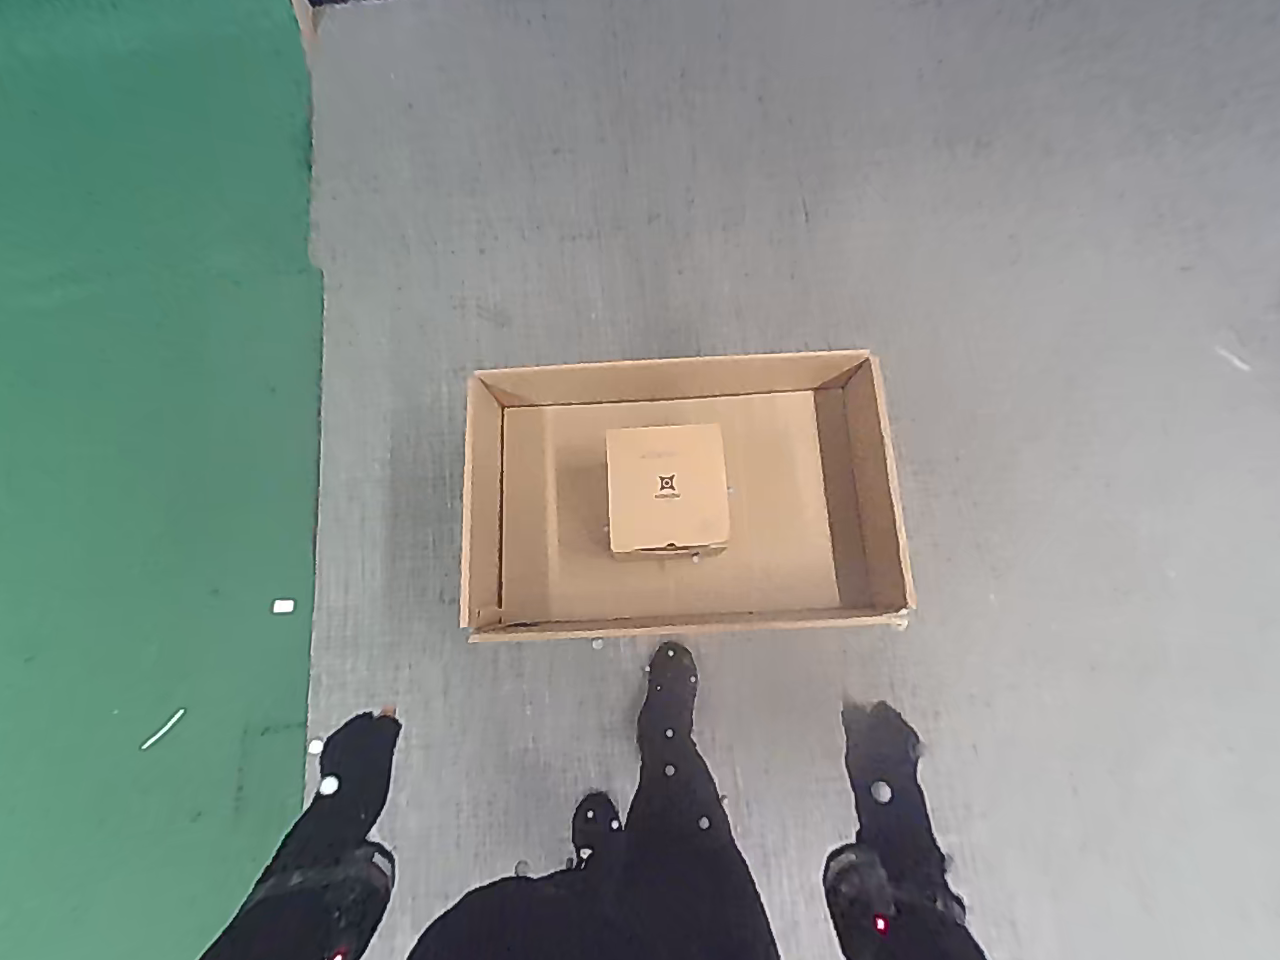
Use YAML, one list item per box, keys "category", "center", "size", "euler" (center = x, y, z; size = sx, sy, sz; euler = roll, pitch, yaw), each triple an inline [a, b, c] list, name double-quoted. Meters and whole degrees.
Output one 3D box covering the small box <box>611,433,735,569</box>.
- category: "small box"
  center: [0.046, 0.042, 0.826]
  size: [0.168, 0.176, 0.179]
  euler: [-4, 75, 0]
